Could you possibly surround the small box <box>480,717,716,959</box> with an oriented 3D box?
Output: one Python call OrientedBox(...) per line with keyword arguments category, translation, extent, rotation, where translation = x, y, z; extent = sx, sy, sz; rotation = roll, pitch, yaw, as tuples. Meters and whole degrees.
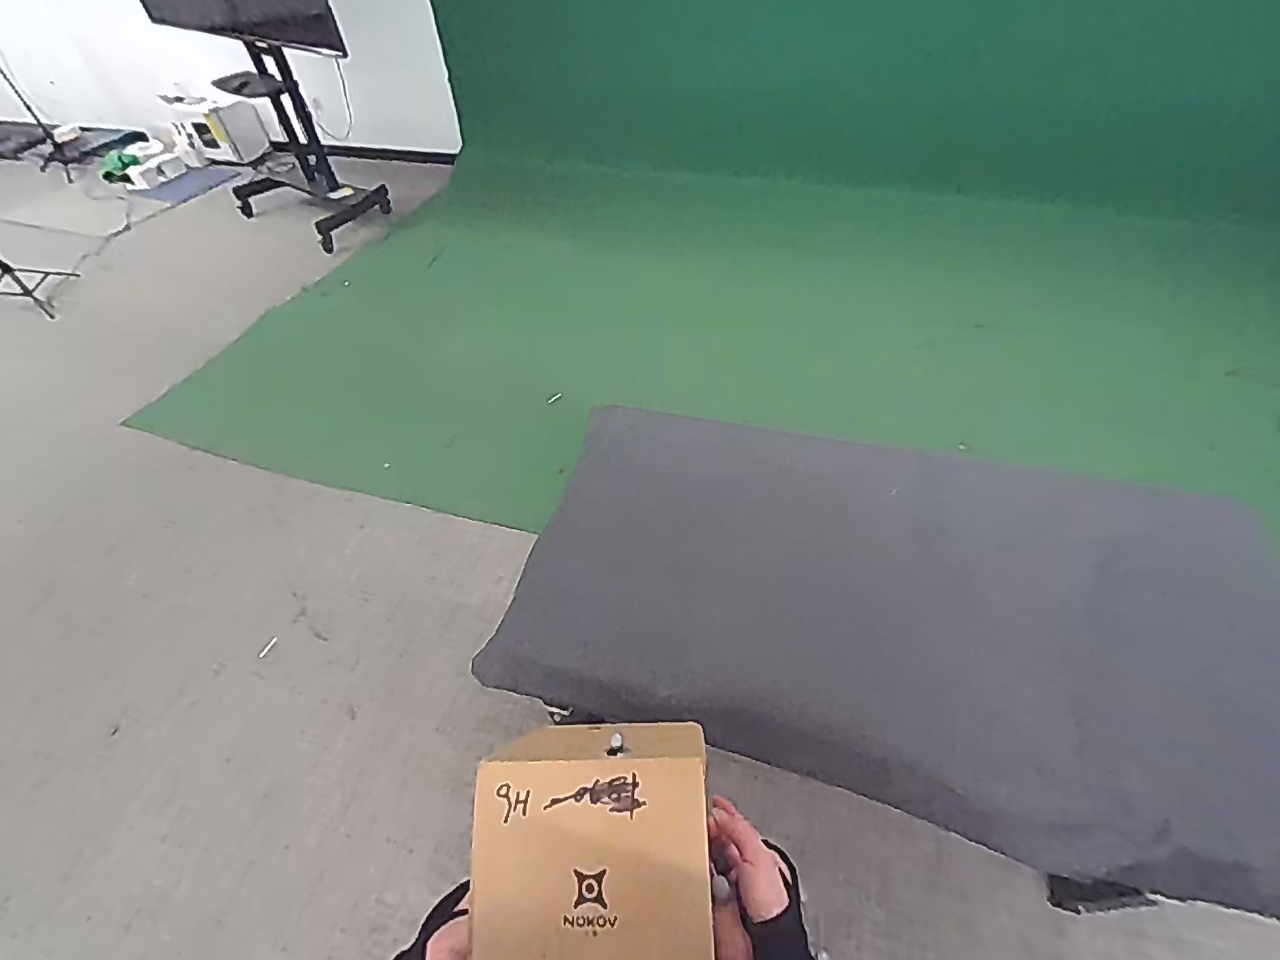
OrientedBox(category="small box", translation=(-0.022, 0.308, 0.452), extent=(0.168, 0.176, 0.179), rotation=(-2, 75, 4))
